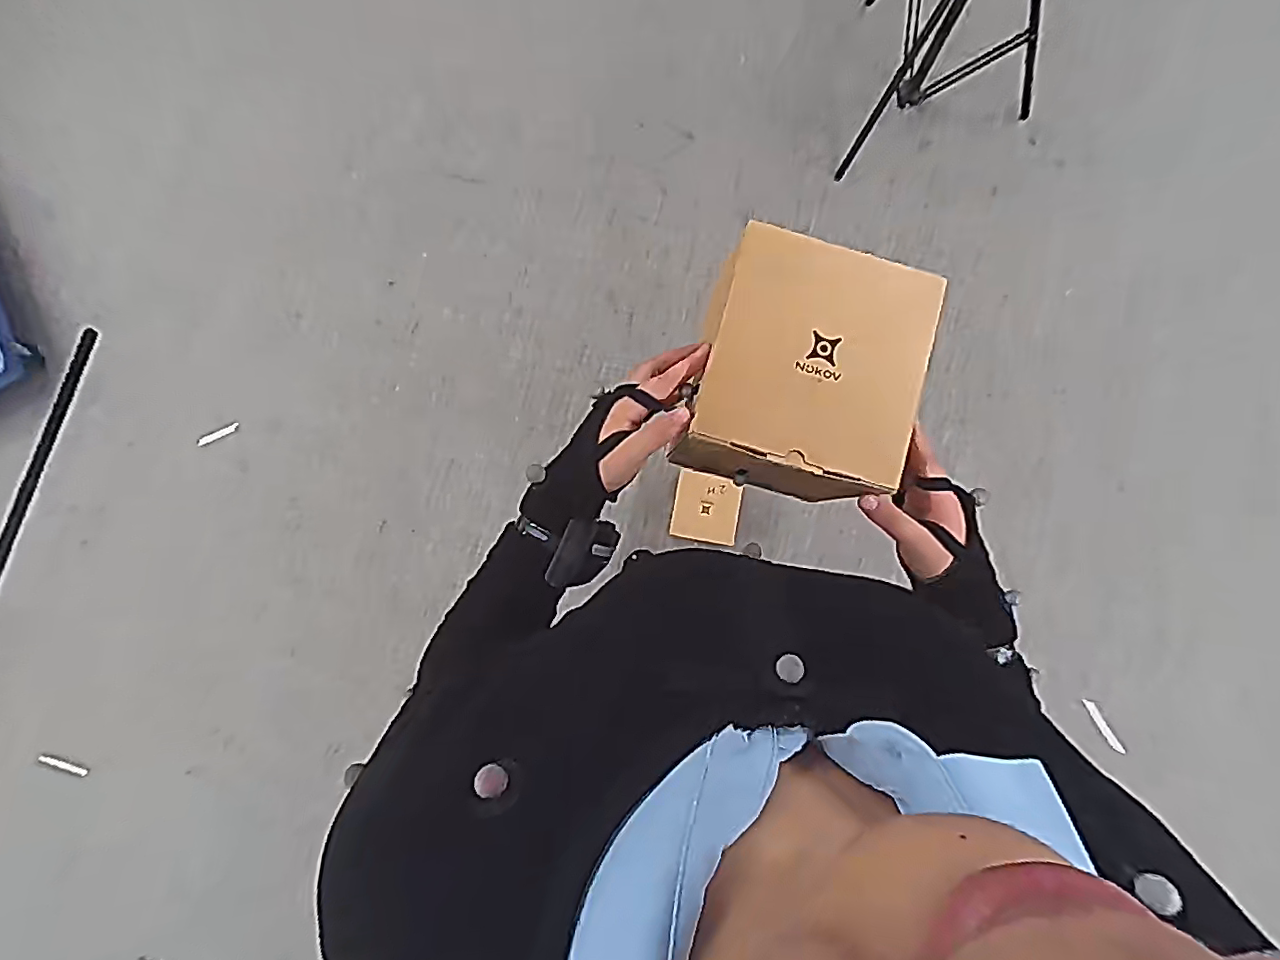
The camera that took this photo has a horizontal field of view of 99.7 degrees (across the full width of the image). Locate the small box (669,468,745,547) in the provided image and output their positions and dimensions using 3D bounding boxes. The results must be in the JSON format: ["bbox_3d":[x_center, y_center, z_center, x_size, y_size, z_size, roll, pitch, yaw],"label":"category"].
[{"bbox_3d":[0.174,0.079,1.440,0.168,0.176,0.179,11,83,4],"label":"small box"}]
